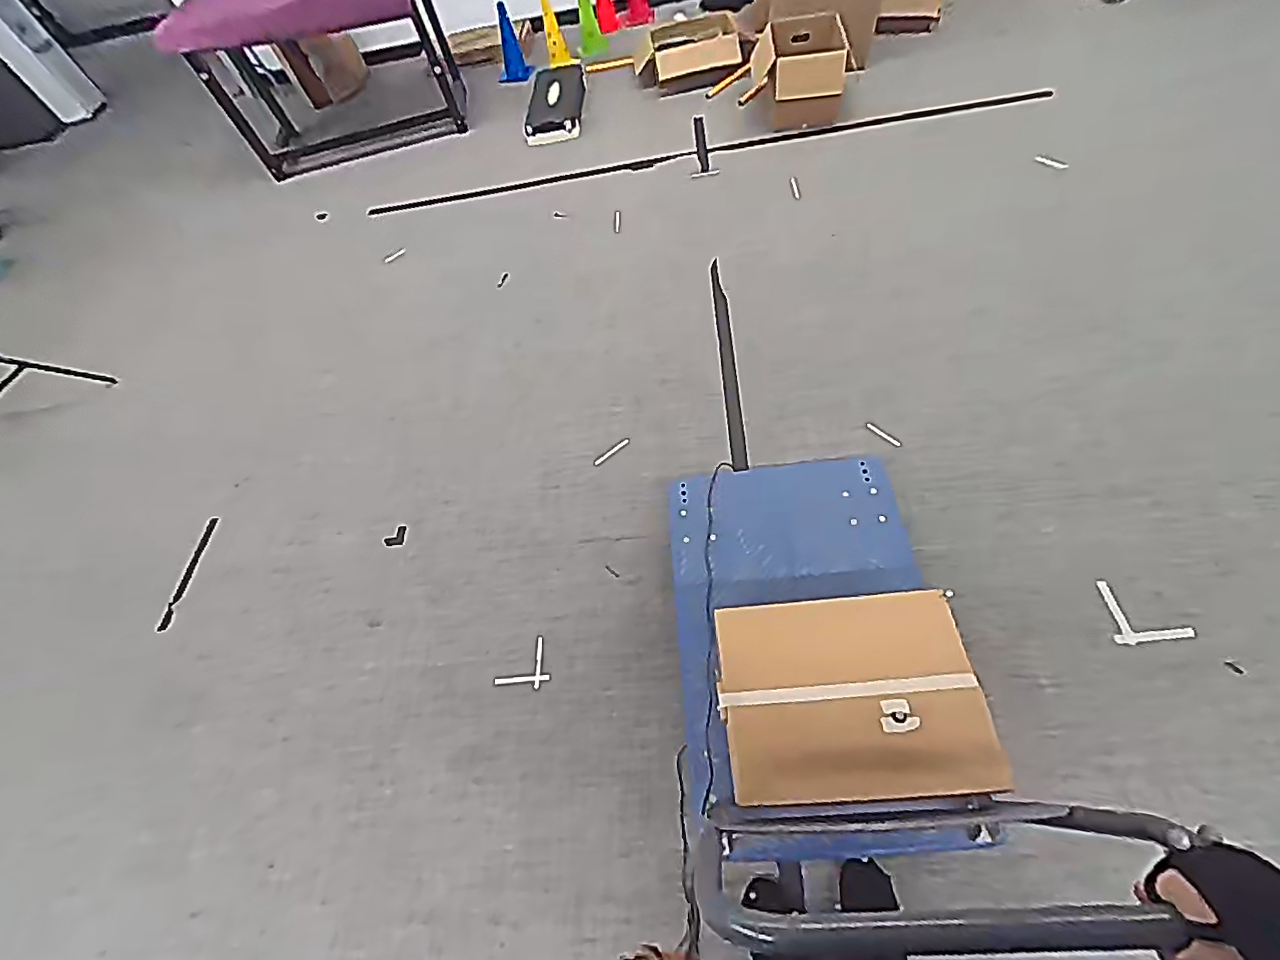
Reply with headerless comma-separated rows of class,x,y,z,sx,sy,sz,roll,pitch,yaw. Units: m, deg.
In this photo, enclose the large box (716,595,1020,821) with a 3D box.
large box,0.361,0.431,0.993,0.408,0.320,0.320,-7,58,5
